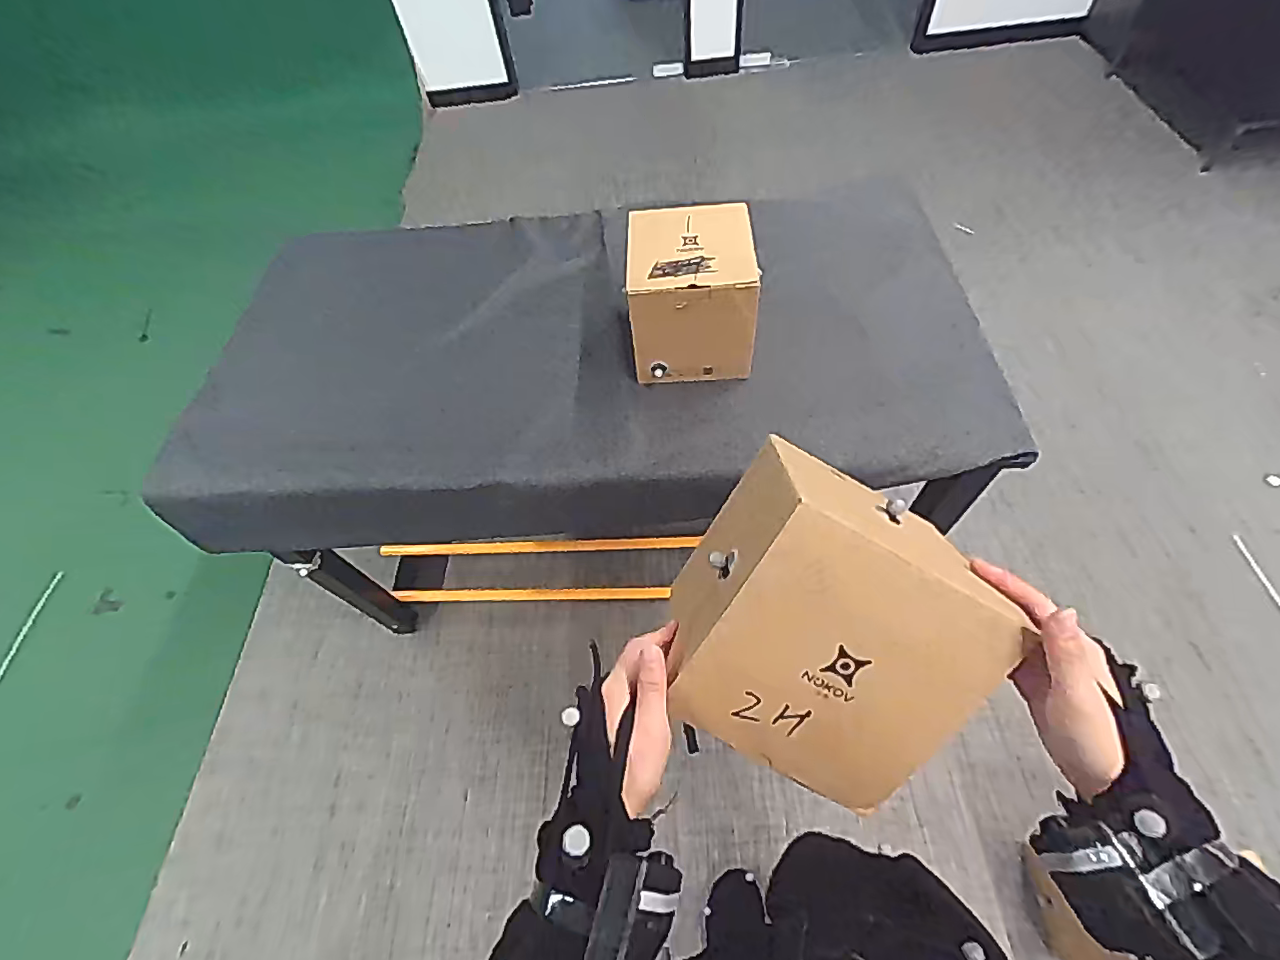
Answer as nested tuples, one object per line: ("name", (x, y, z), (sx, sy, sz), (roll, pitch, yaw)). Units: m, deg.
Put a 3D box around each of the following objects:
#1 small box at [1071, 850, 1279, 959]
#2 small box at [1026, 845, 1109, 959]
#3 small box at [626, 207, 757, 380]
("small box", (0.790, 0.649, 0.787), (0.168, 0.176, 0.179), (-2, 56, 3))
("small box", (0.809, 0.739, 0.923), (0.168, 0.176, 0.179), (-1, 59, 5))
("small box", (0.073, -0.257, 0.773), (0.168, 0.176, 0.179), (-2, 56, 5))
